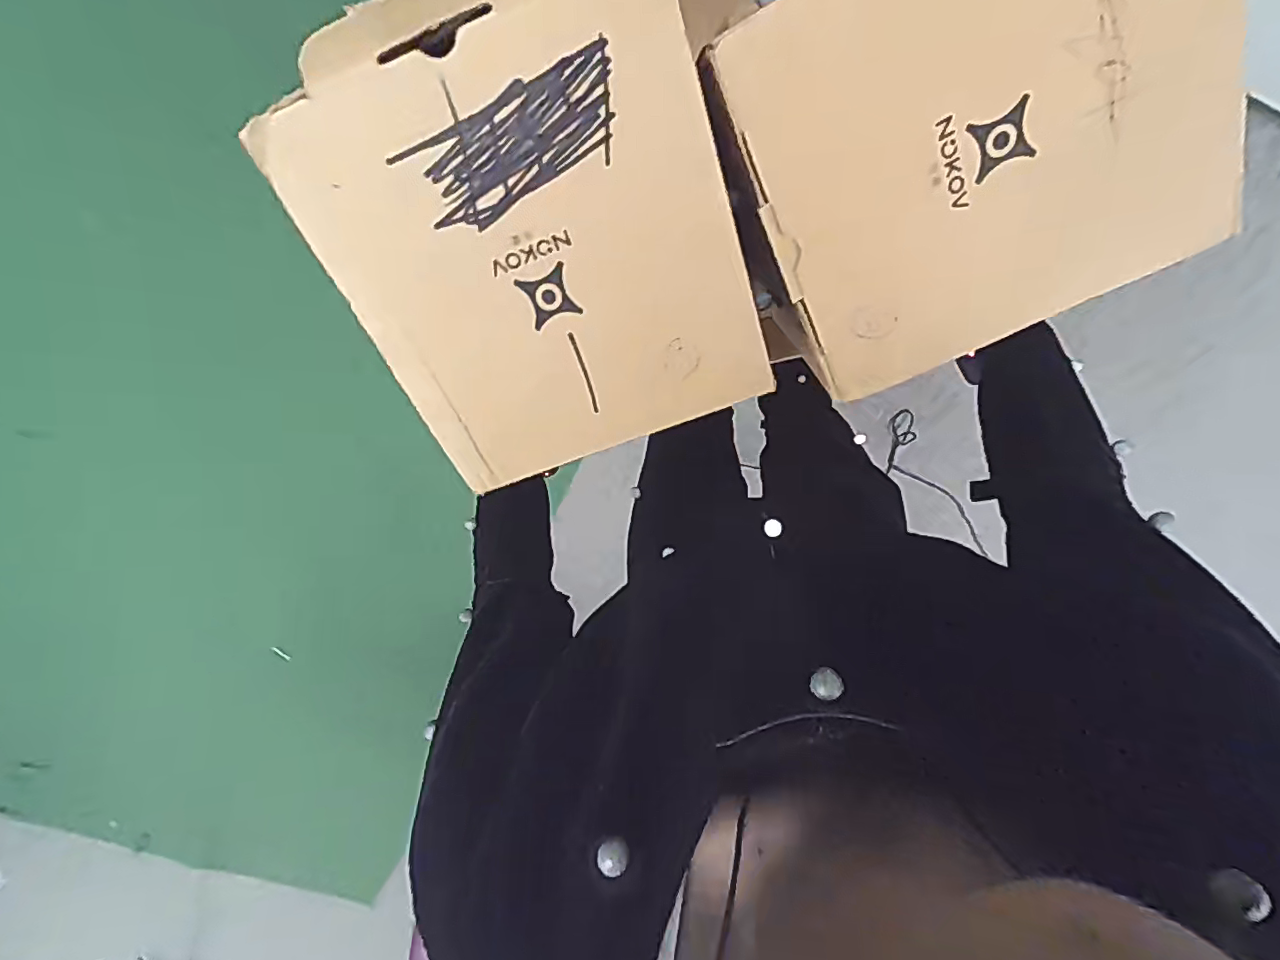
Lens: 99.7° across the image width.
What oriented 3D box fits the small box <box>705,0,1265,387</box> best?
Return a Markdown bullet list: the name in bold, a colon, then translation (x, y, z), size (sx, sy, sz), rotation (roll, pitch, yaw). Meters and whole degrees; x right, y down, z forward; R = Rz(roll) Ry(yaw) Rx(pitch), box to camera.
- **small box**: translation (0.141, -0.178, 0.278), size (0.179, 0.176, 0.168), rotation (-23, 118, 15)
